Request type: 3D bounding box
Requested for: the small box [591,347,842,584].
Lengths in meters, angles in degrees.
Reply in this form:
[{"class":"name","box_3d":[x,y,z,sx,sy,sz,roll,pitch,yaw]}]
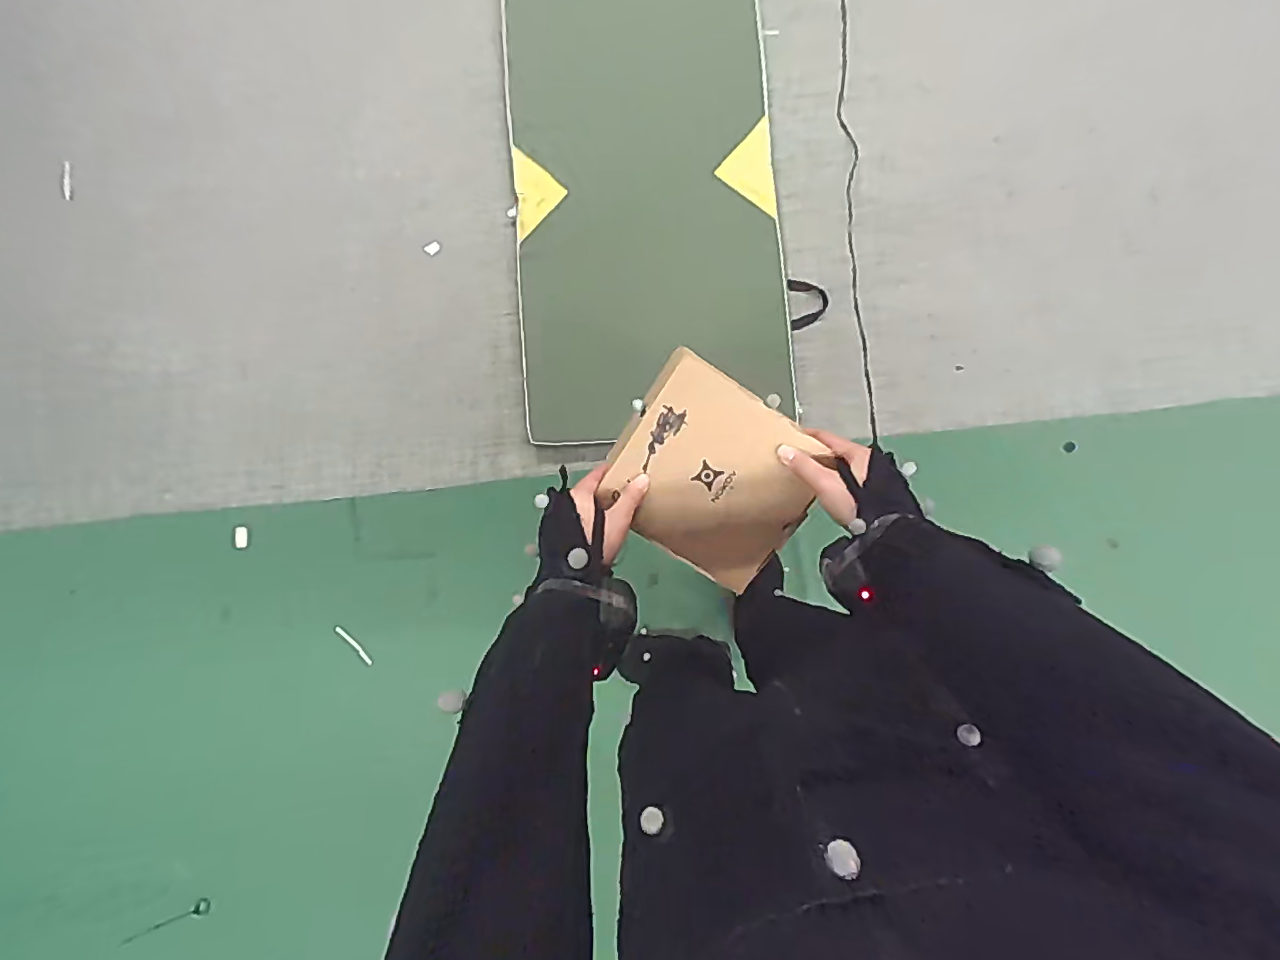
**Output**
[{"class":"small box","box_3d":[0.072,-0.028,0.575,0.179,0.176,0.168,33,105,-8]}]
